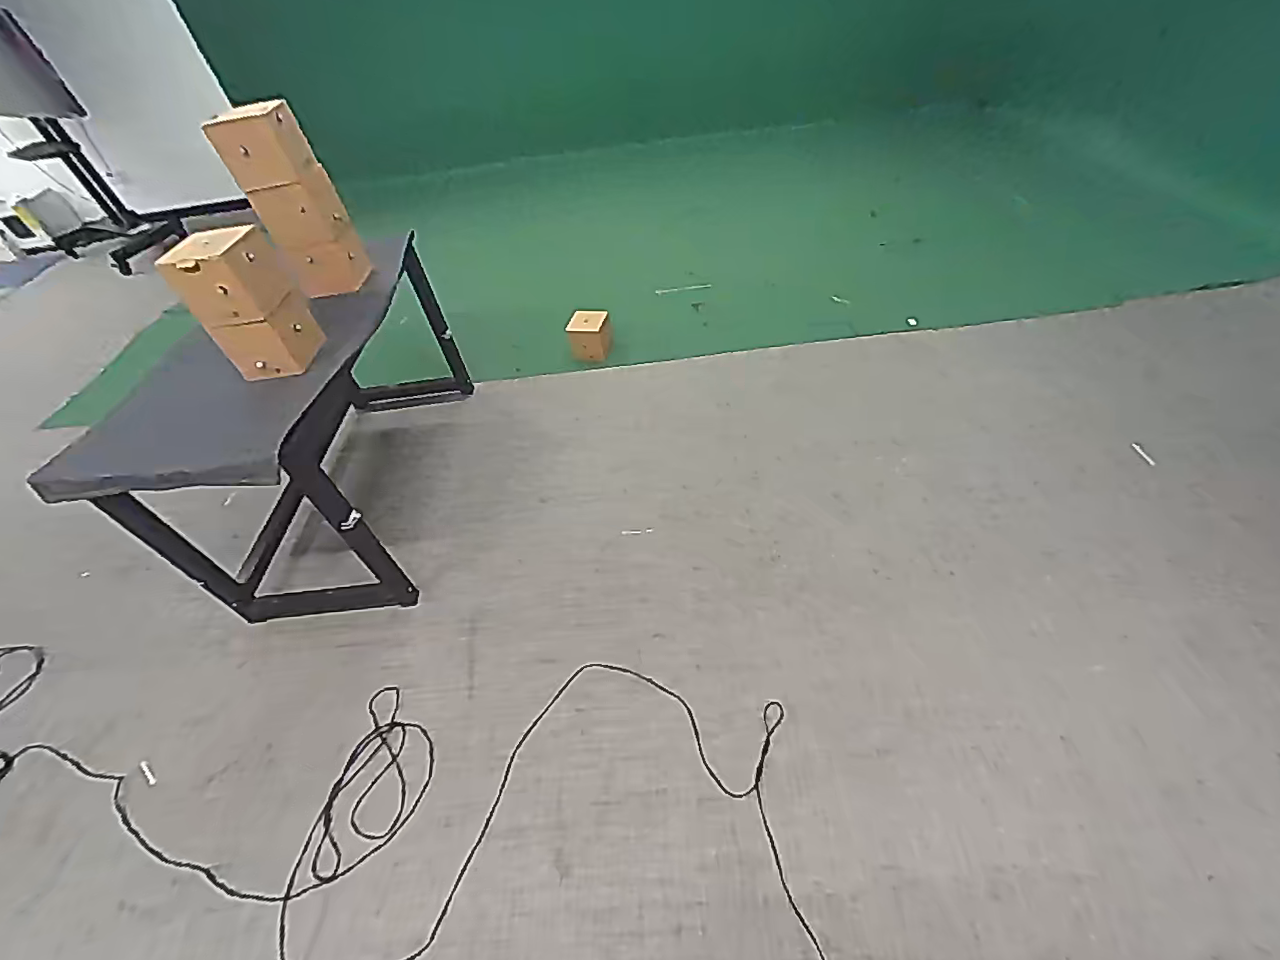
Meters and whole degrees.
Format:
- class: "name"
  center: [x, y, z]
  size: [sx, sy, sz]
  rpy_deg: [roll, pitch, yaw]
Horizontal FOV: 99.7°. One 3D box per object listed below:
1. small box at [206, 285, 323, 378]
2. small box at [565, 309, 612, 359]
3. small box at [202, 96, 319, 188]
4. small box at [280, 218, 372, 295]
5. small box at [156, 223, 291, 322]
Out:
- class: "small box"
  center: [-0.990, -0.396, 1.450]
  size: [0.168, 0.176, 0.179]
  rpy_deg: [-6, 48, 4]
- class: "small box"
  center: [-0.243, -0.704, 2.612]
  size: [0.168, 0.176, 0.179]
  rpy_deg: [7, 49, 14]
- class: "small box"
  center: [-1.049, -0.940, 1.511]
  size: [0.179, 0.176, 0.168]
  rpy_deg: [-10, 48, 2]
- class: "small box"
  center: [-1.007, -0.722, 1.753]
  size: [0.179, 0.176, 0.168]
  rpy_deg: [-7, 47, 4]
- class: "small box"
  center: [-1.007, -0.503, 1.329]
  size: [0.168, 0.176, 0.179]
  rpy_deg: [-5, 46, 4]
